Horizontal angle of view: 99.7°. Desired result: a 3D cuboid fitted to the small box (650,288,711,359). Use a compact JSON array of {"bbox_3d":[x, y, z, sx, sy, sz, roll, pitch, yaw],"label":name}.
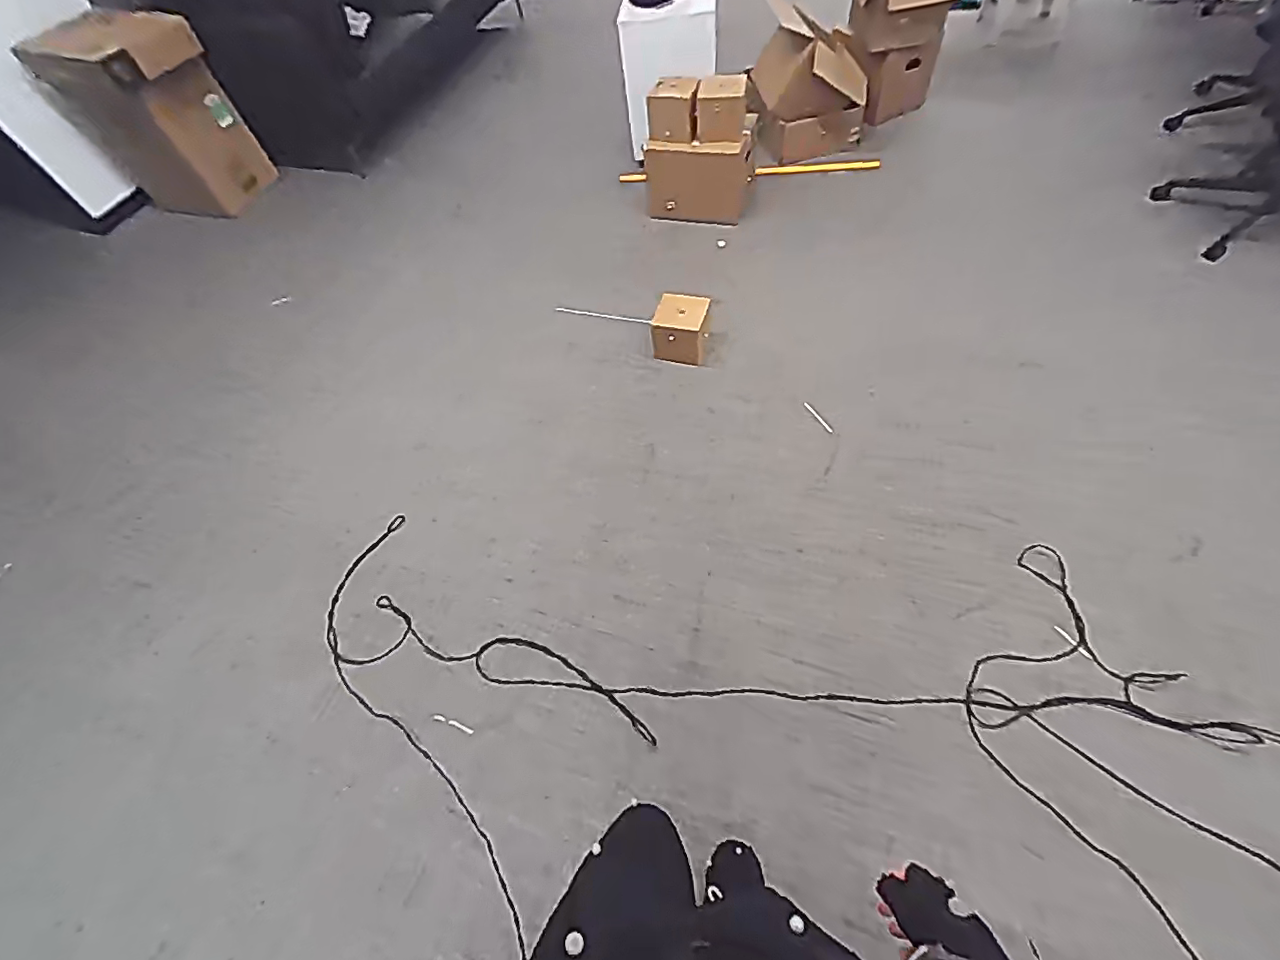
[{"bbox_3d":[0.151,-0.551,1.916,0.179,0.176,0.168,12,61,16],"label":"small box"}]
